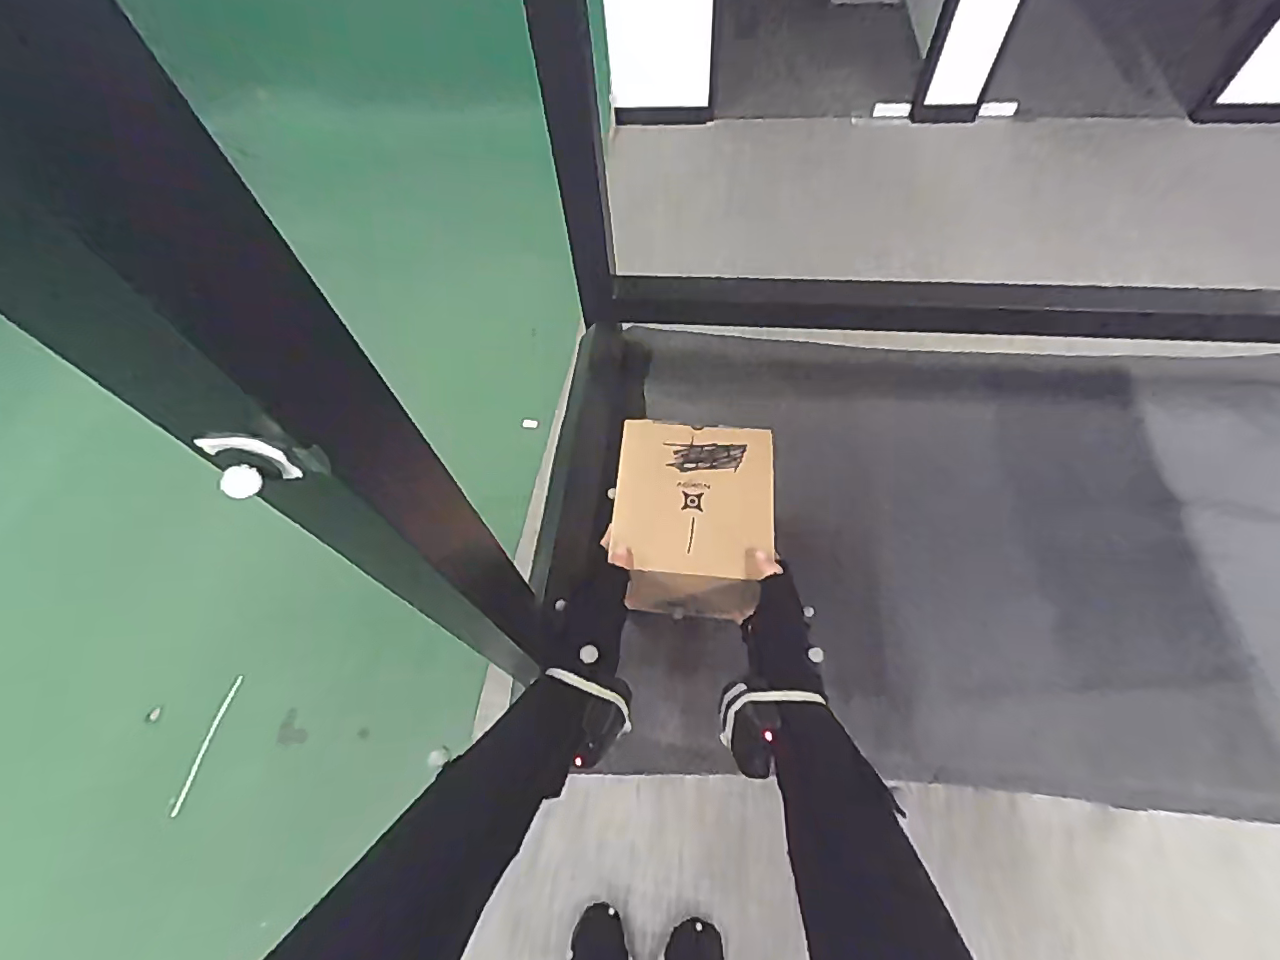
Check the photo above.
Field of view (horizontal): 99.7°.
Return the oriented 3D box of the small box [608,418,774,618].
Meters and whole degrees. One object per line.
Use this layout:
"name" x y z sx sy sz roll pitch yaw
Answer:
"small box" 0.057 0.049 0.635 0.168 0.176 0.179 4 63 3
